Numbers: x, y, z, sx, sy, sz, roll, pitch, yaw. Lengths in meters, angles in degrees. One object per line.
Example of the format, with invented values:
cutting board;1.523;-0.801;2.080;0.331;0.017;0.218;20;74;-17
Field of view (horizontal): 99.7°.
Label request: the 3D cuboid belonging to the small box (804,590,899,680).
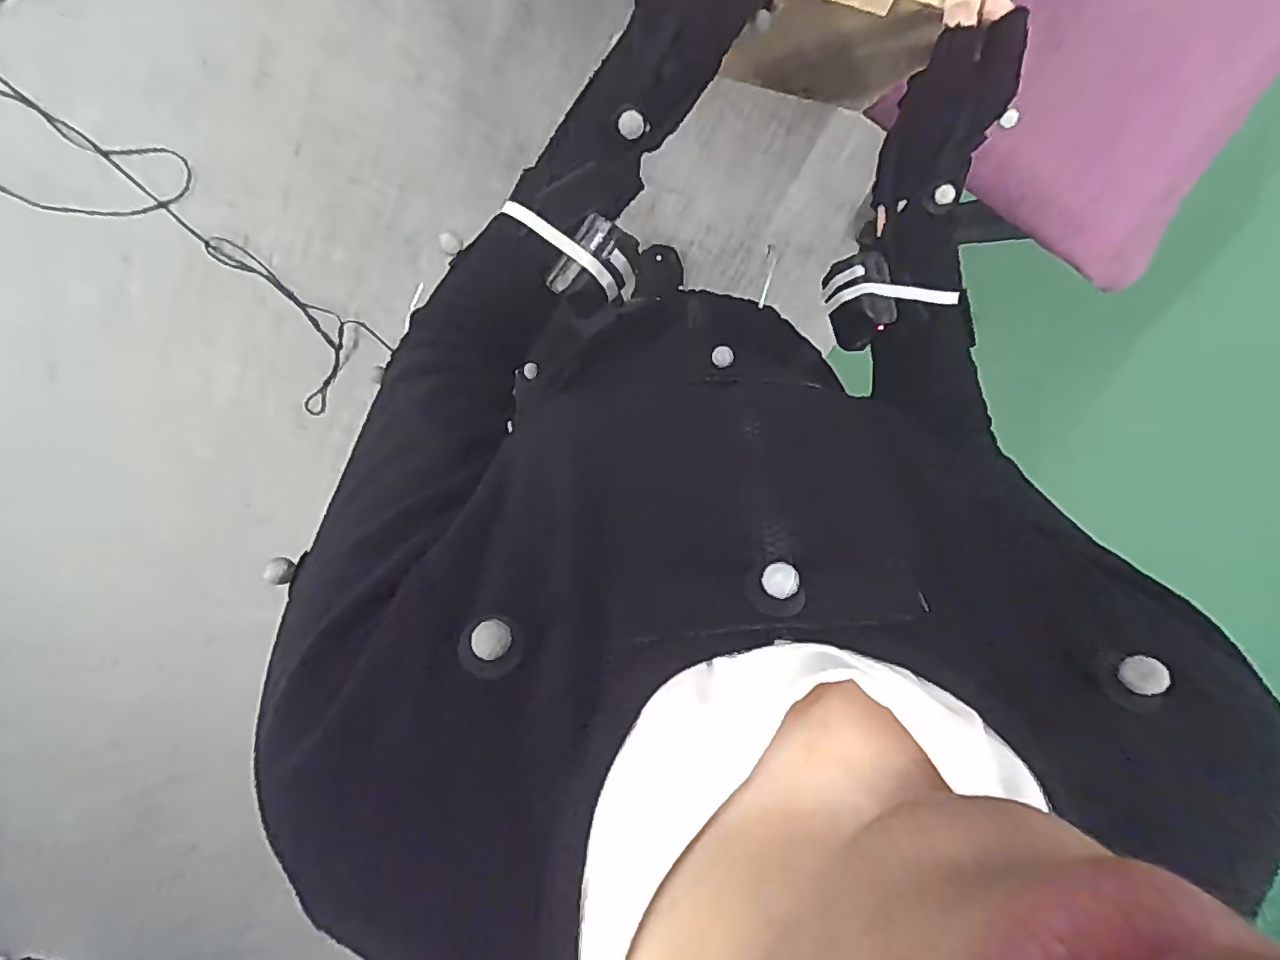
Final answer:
small box;0.628;0.461;1.630;0.179;0.176;0.168;28;109;-11
